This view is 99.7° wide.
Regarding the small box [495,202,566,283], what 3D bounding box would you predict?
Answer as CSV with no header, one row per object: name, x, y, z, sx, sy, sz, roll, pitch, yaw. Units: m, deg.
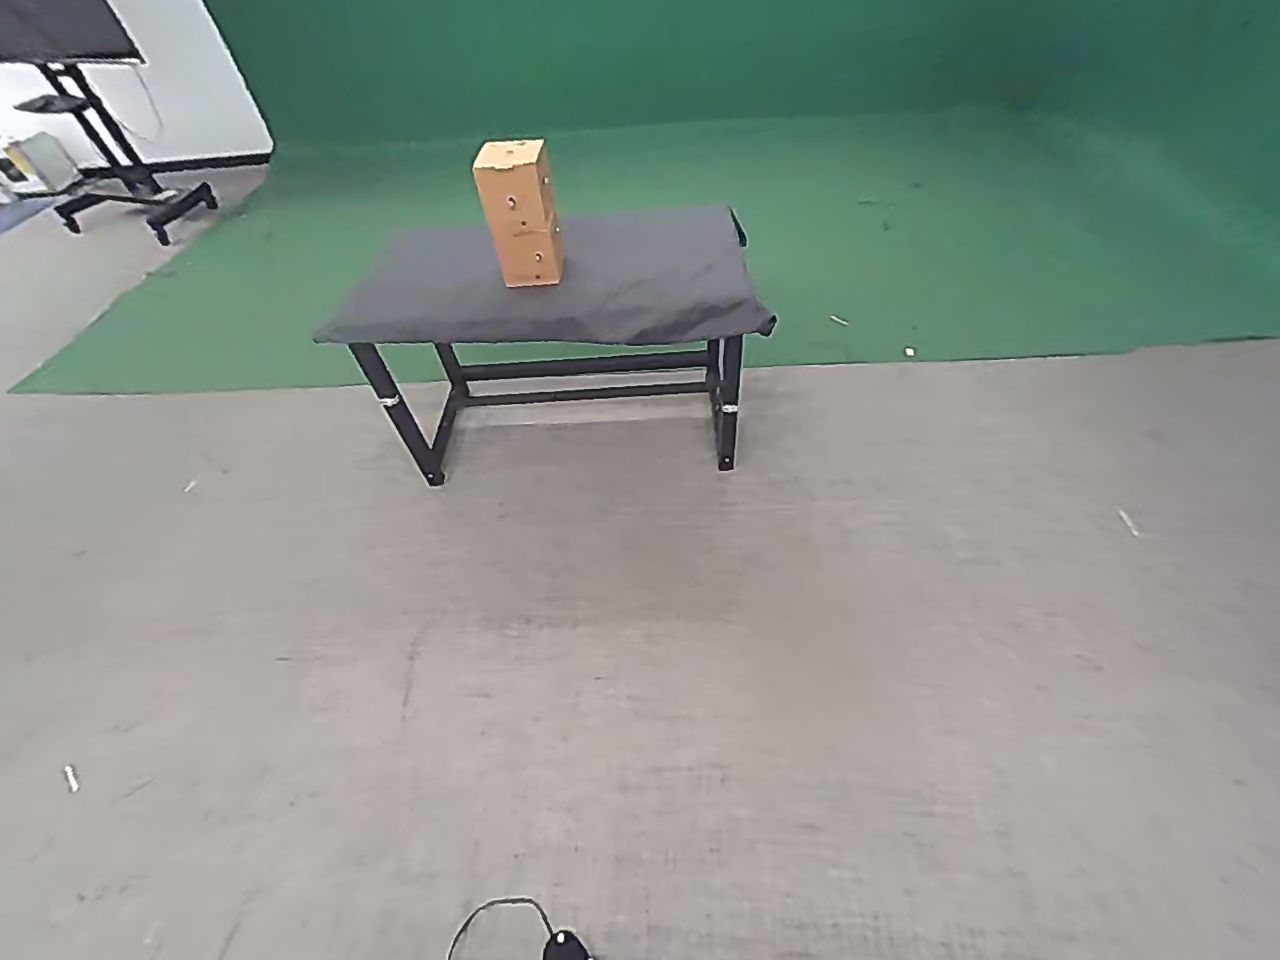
small box,-0.319,-0.702,1.608,0.168,0.176,0.179,-2,49,2

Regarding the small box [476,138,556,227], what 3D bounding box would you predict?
small box,-0.332,-0.811,1.486,0.168,0.176,0.179,-1,51,2
